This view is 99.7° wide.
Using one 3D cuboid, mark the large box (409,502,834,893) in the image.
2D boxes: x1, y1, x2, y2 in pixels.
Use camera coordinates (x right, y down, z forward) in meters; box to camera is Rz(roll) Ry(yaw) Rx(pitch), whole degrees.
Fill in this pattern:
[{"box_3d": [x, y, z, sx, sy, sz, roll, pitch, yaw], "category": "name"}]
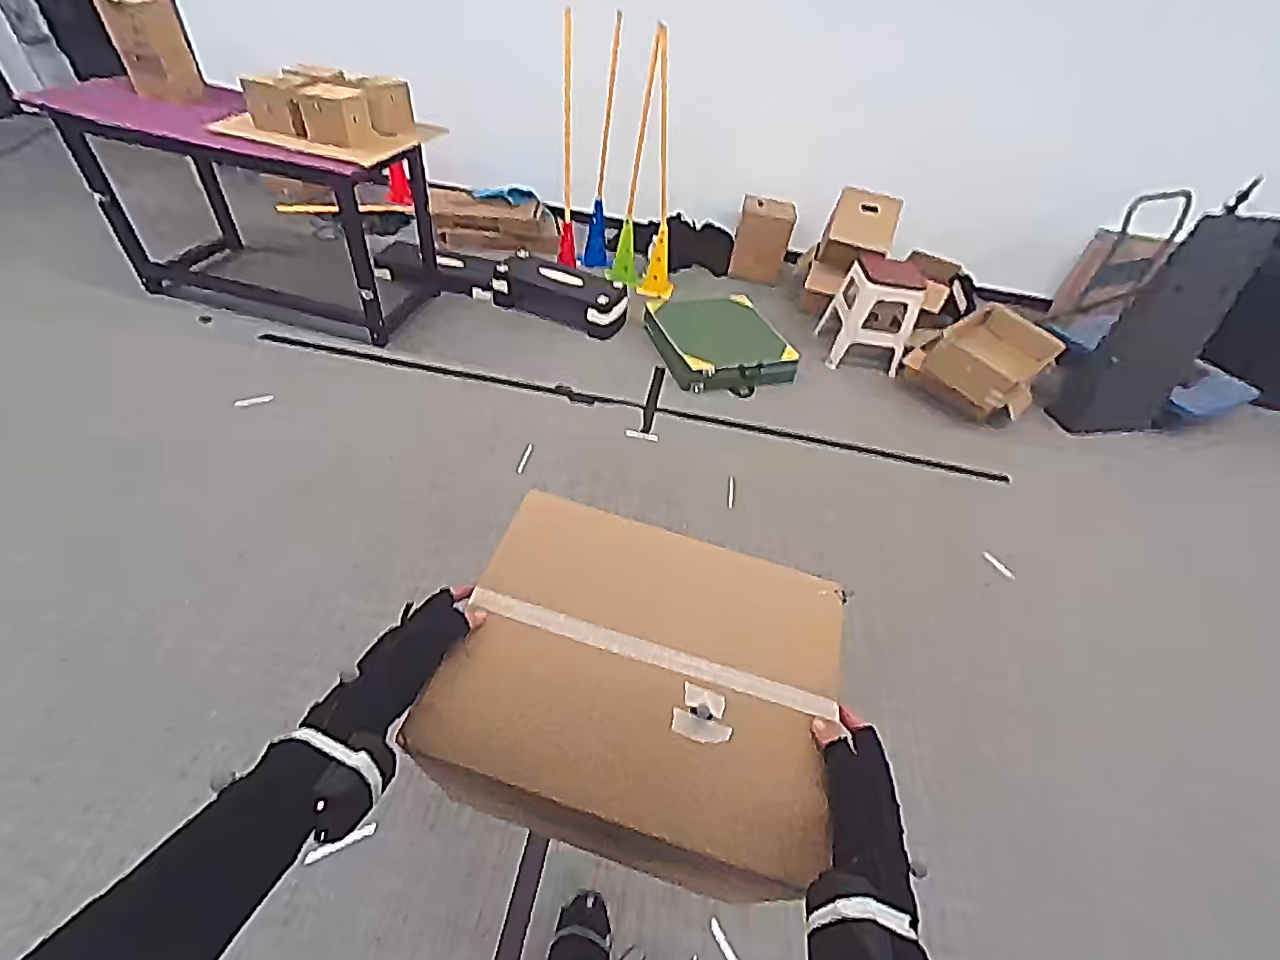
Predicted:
[{"box_3d": [-0.011, 0.283, 0.697, 0.408, 0.320, 0.320, 17, 52, 4], "category": "large box"}]
